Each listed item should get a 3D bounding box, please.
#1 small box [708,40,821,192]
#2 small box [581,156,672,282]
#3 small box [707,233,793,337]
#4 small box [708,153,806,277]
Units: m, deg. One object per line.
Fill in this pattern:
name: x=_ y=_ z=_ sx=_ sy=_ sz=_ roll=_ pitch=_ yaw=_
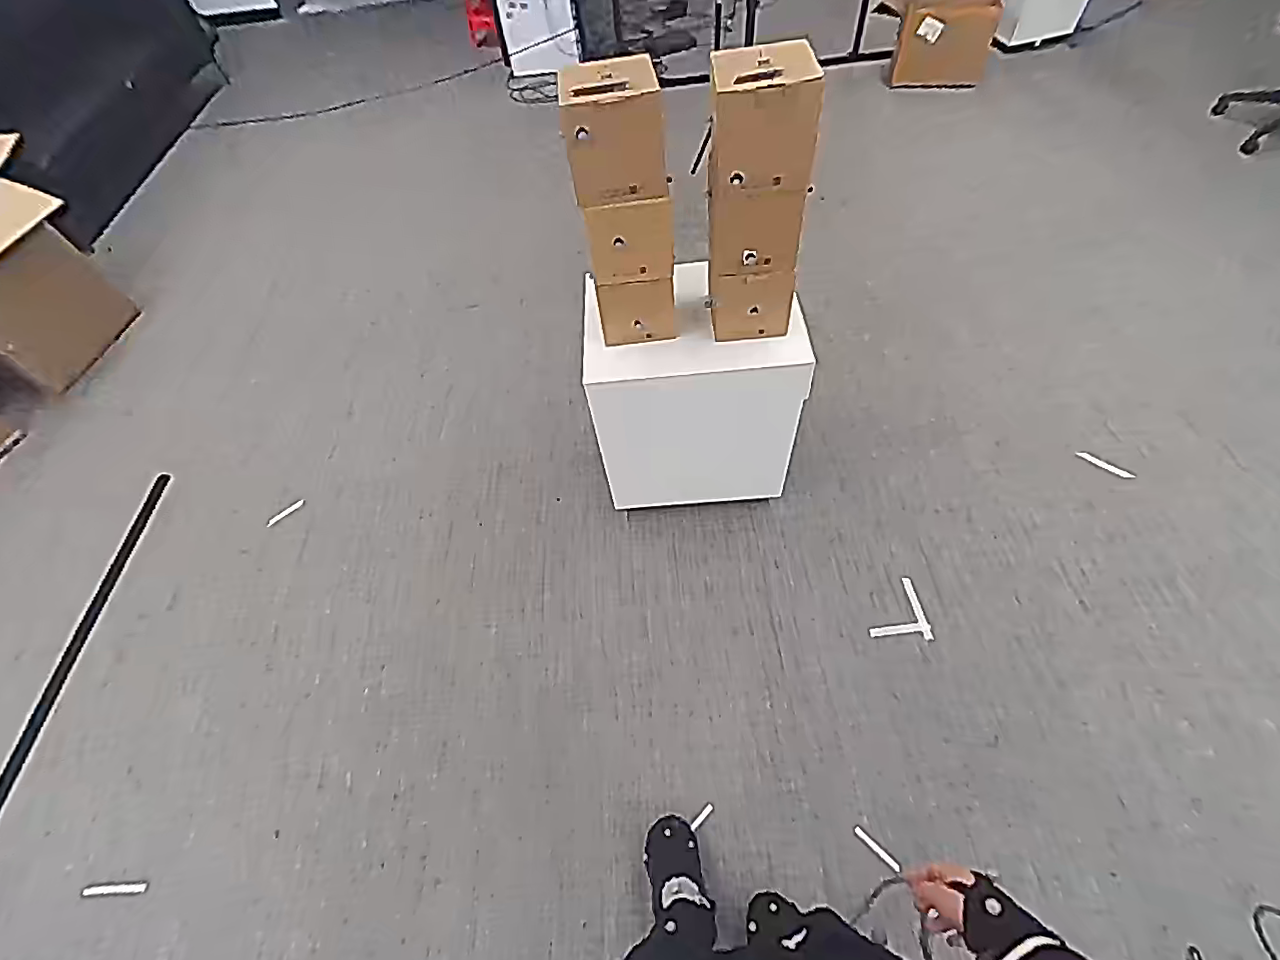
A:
small box: x=0.208 y=-0.624 z=0.943 sx=0.168 sy=0.176 sz=0.179 roll=-4 pitch=54 yaw=6
small box: x=-0.025 y=-0.522 z=1.099 sx=0.168 sy=0.176 sz=0.179 roll=-6 pitch=55 yaw=2
small box: x=0.240 y=-0.437 z=1.210 sx=0.168 sy=0.176 sz=0.179 roll=-5 pitch=57 yaw=5
small box: x=0.224 y=-0.535 z=1.080 sx=0.168 sy=0.176 sz=0.179 roll=-5 pitch=56 yaw=5
